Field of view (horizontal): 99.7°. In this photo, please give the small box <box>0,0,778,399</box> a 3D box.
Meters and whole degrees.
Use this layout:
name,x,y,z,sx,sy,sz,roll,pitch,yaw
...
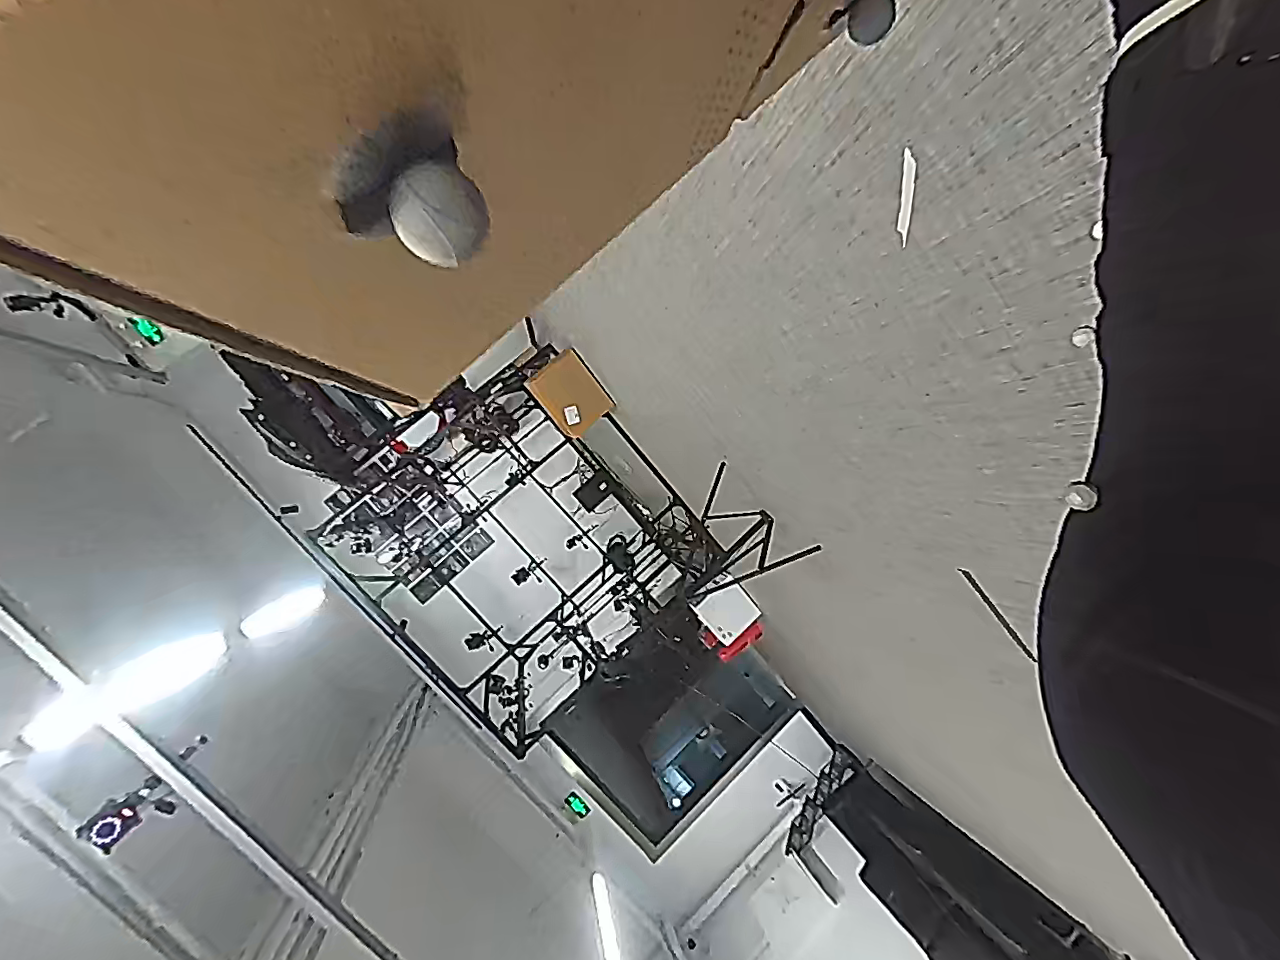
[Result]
name,x,y,z,sx,sy,sz,roll,pitch,yaw
small box,-0.070,-0.143,0.128,0.168,0.176,0.179,48,177,-6
